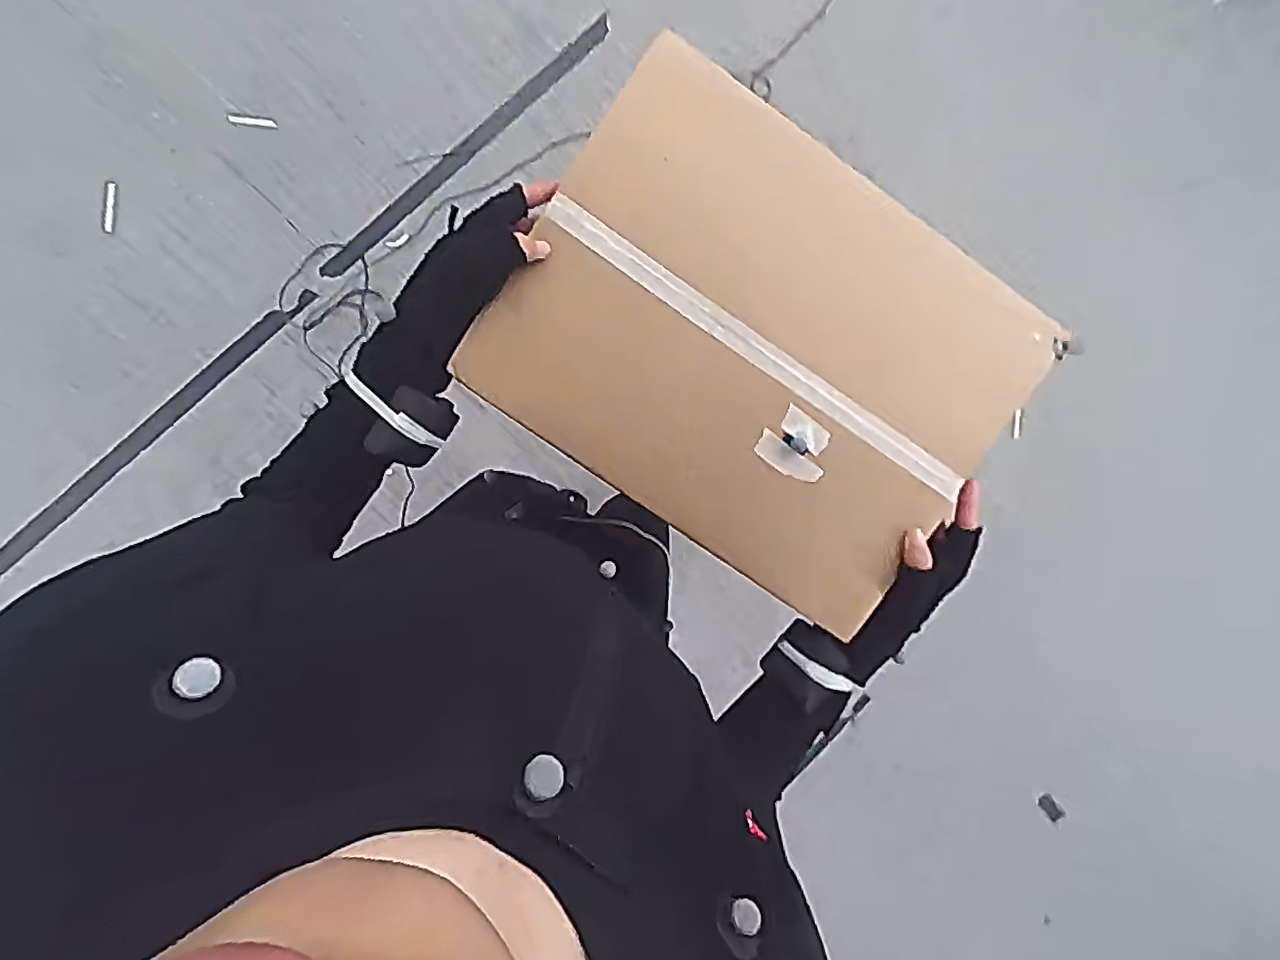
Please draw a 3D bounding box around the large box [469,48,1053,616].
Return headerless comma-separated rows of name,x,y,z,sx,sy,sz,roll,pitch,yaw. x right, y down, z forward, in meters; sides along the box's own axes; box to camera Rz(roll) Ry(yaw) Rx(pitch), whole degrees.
large box,0.097,-0.126,0.598,0.408,0.320,0.320,35,95,-5
